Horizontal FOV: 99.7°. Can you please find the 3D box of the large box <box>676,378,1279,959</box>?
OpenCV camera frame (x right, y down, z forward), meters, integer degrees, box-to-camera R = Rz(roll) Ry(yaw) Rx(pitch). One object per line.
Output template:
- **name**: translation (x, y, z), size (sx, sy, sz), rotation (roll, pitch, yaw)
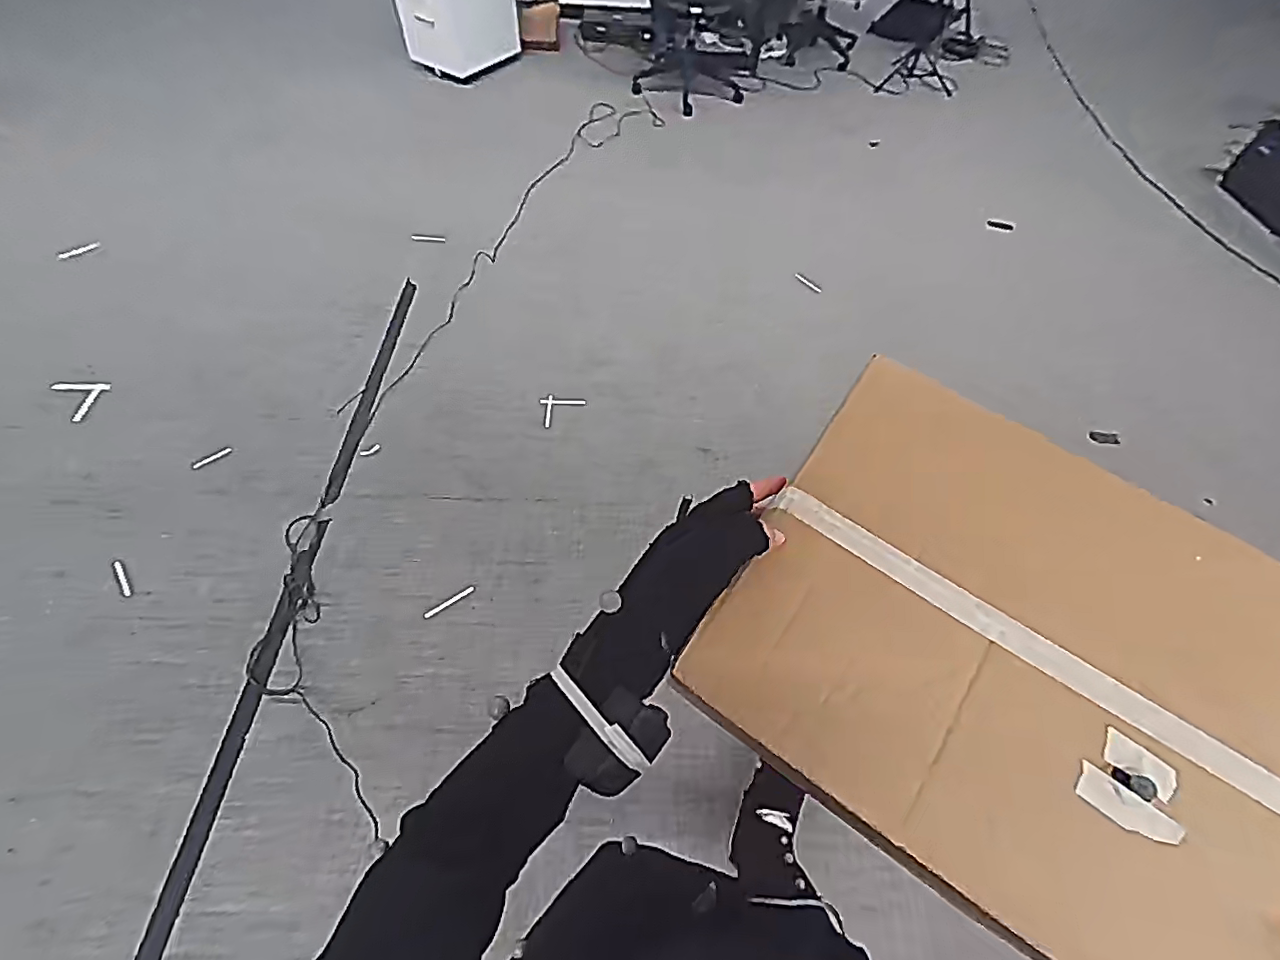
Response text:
- **large box**: translation (0.283, 0.181, 0.519), size (0.408, 0.320, 0.320), rotation (33, 74, 14)
